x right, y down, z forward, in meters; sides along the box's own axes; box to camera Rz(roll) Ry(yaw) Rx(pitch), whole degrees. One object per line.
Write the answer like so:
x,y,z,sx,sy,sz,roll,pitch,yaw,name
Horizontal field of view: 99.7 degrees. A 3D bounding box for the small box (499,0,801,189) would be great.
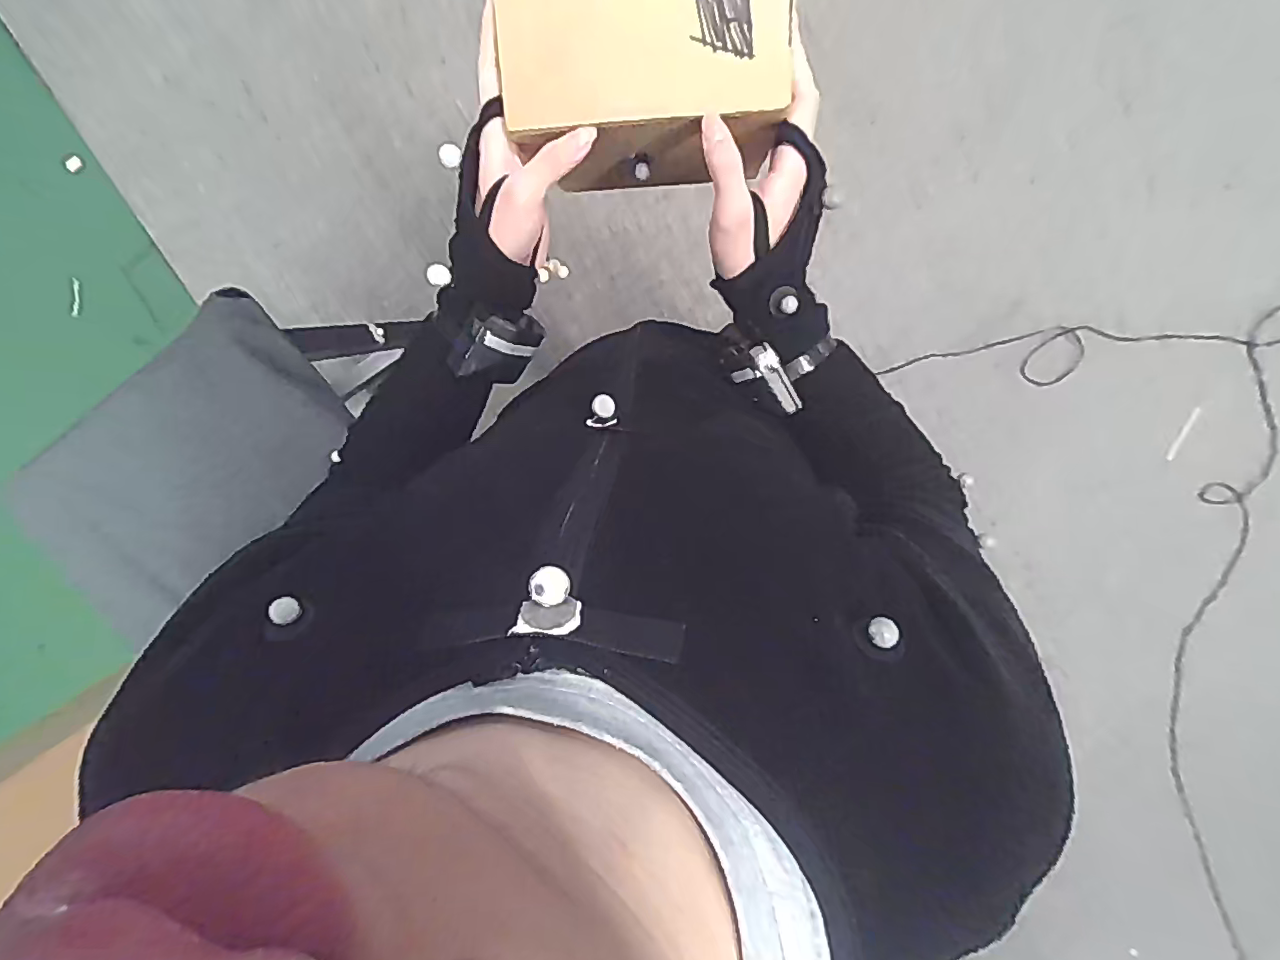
0.010,-0.319,0.382,0.179,0.176,0.168,-1,106,7,small box
